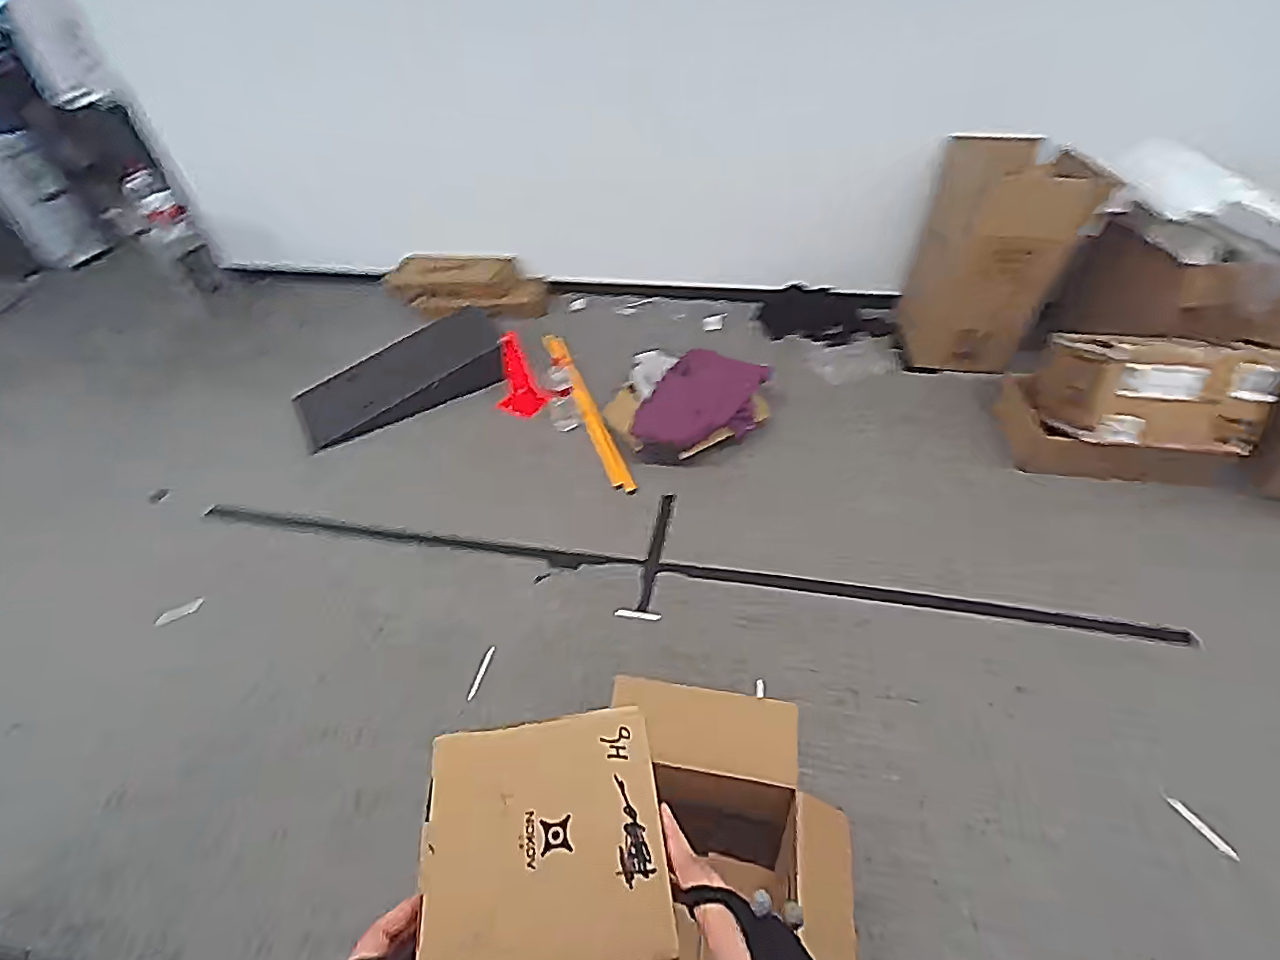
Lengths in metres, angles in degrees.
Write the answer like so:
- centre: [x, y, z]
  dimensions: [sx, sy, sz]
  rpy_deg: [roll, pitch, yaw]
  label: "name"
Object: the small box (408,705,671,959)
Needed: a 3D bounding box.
- centre: [-0.075, 0.313, 0.459]
  dimensions: [0.179, 0.176, 0.168]
  rpy_deg: [-8, 52, -6]
  label: "small box"
